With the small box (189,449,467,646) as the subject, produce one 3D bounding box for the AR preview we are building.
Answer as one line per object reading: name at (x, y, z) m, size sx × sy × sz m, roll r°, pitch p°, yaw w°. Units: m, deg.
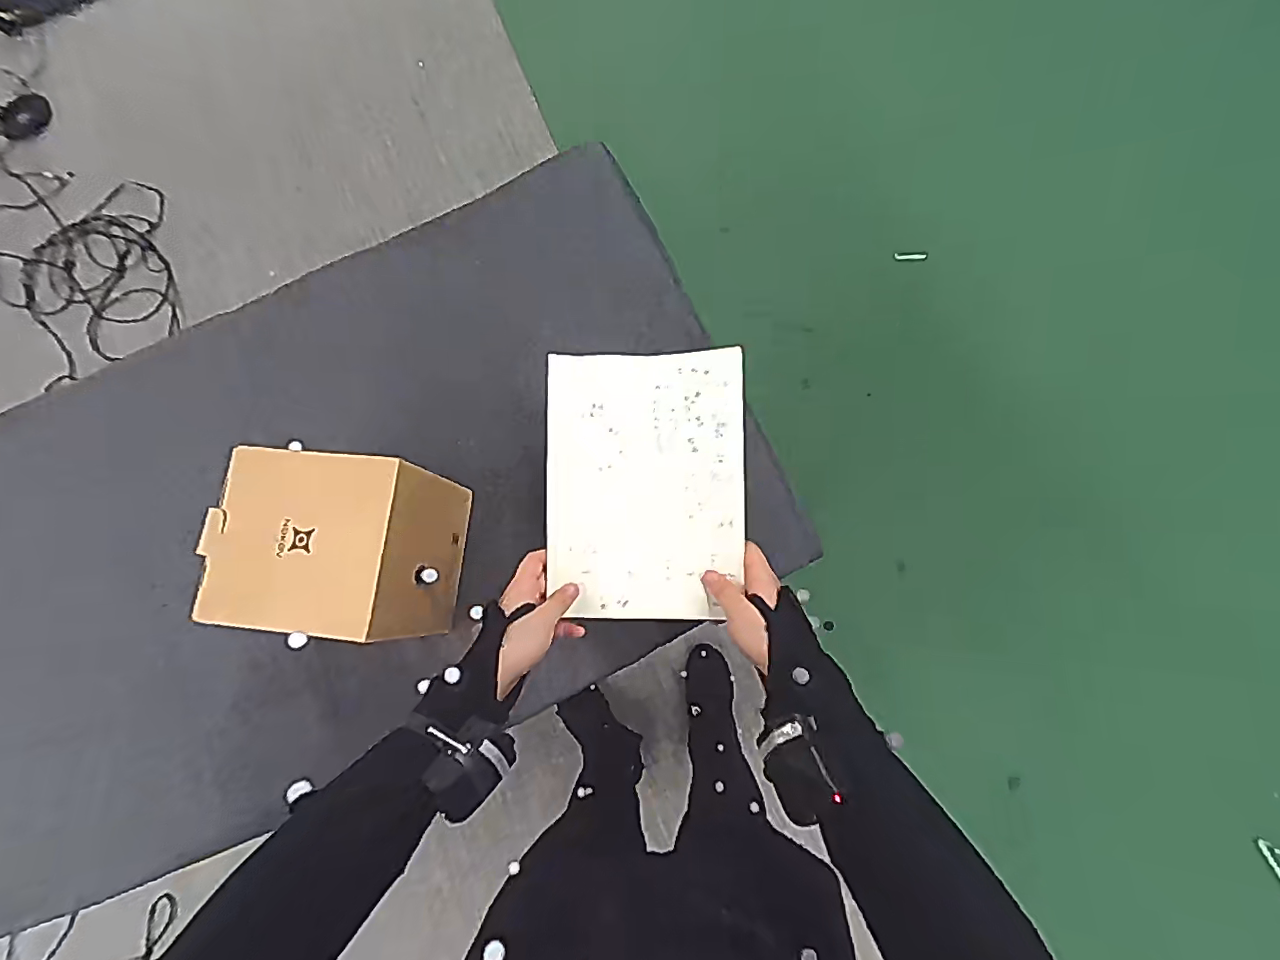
small box at (-0.302, 0.071, 0.565) m, size 0.179 × 0.176 × 0.168 m, roll 4°, pitch 79°, yaw 8°
